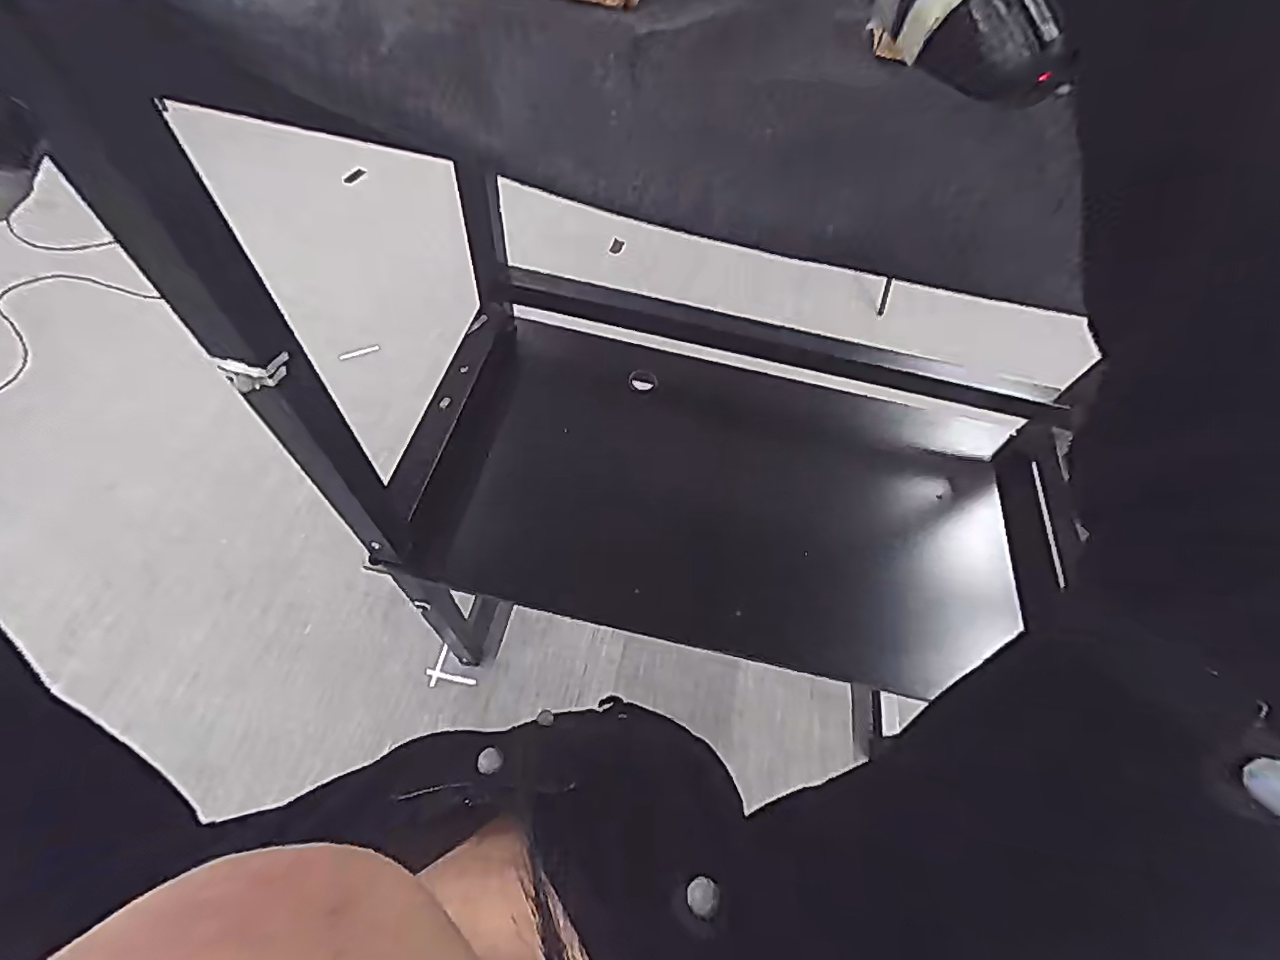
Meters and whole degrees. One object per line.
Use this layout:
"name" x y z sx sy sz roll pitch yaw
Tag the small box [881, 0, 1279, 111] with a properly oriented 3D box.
"small box" 0.209 -0.283 0.209 0.168 0.176 0.179 14 56 2
